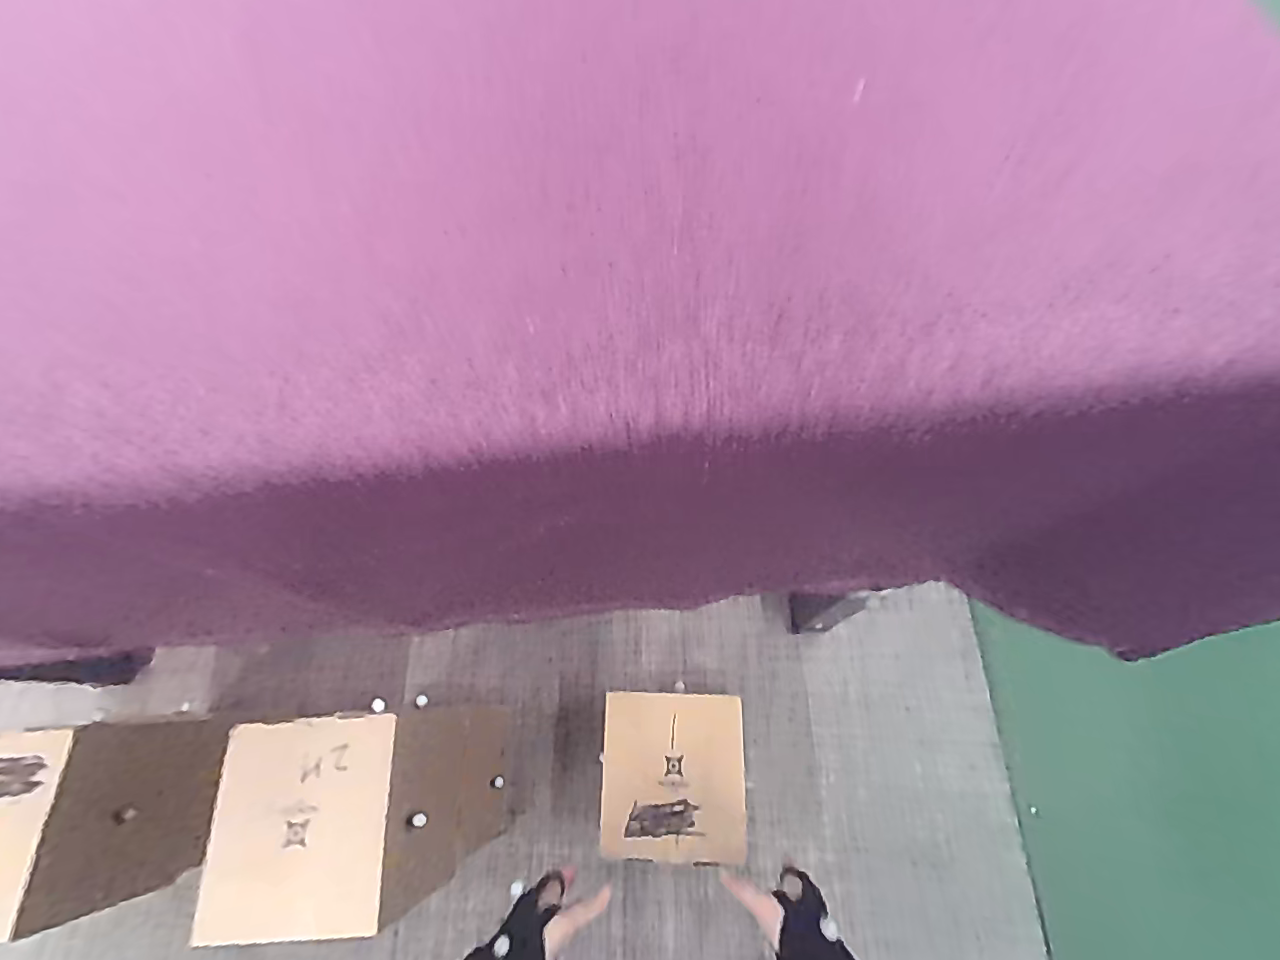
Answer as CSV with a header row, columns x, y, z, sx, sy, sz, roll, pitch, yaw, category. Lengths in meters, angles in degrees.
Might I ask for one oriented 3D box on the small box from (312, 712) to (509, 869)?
x,y,z,sx,sy,sz,roll,pitch,yaw,category
-0.292,0.405,0.728,0.179,0.176,0.168,-4,67,4,small box
